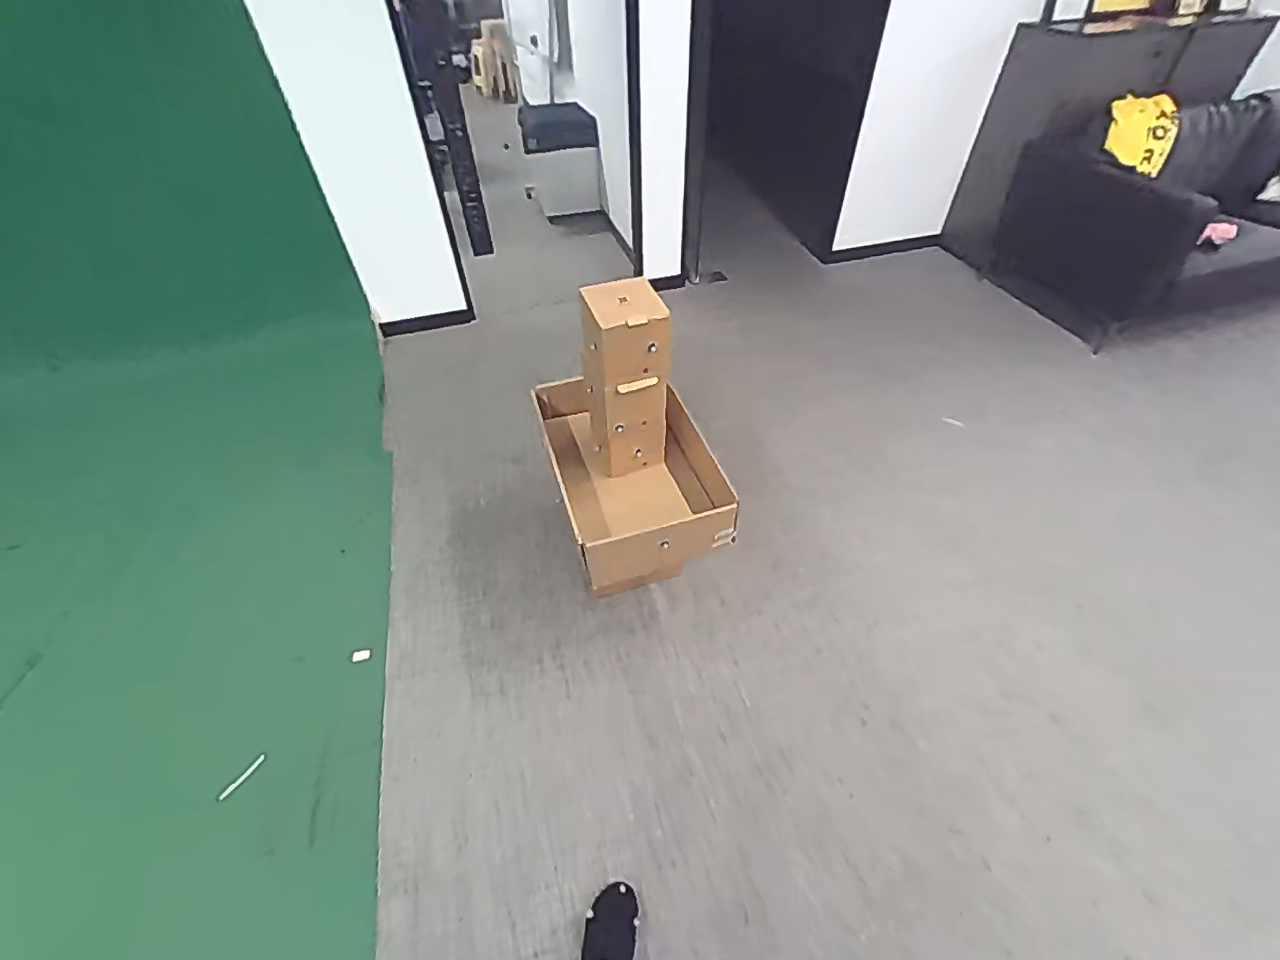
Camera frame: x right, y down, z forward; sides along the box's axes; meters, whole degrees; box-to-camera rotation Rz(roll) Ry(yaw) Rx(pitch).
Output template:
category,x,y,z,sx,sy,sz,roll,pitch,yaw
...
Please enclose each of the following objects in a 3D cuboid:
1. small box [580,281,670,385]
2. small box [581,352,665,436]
category,x,y,z,sx,sy,sz,roll,pitch,yaw
small box,-0.036,-0.341,1.282,0.168,0.176,0.179,-15,51,-14
small box,-0.044,-0.233,1.403,0.168,0.176,0.179,-18,51,-15
